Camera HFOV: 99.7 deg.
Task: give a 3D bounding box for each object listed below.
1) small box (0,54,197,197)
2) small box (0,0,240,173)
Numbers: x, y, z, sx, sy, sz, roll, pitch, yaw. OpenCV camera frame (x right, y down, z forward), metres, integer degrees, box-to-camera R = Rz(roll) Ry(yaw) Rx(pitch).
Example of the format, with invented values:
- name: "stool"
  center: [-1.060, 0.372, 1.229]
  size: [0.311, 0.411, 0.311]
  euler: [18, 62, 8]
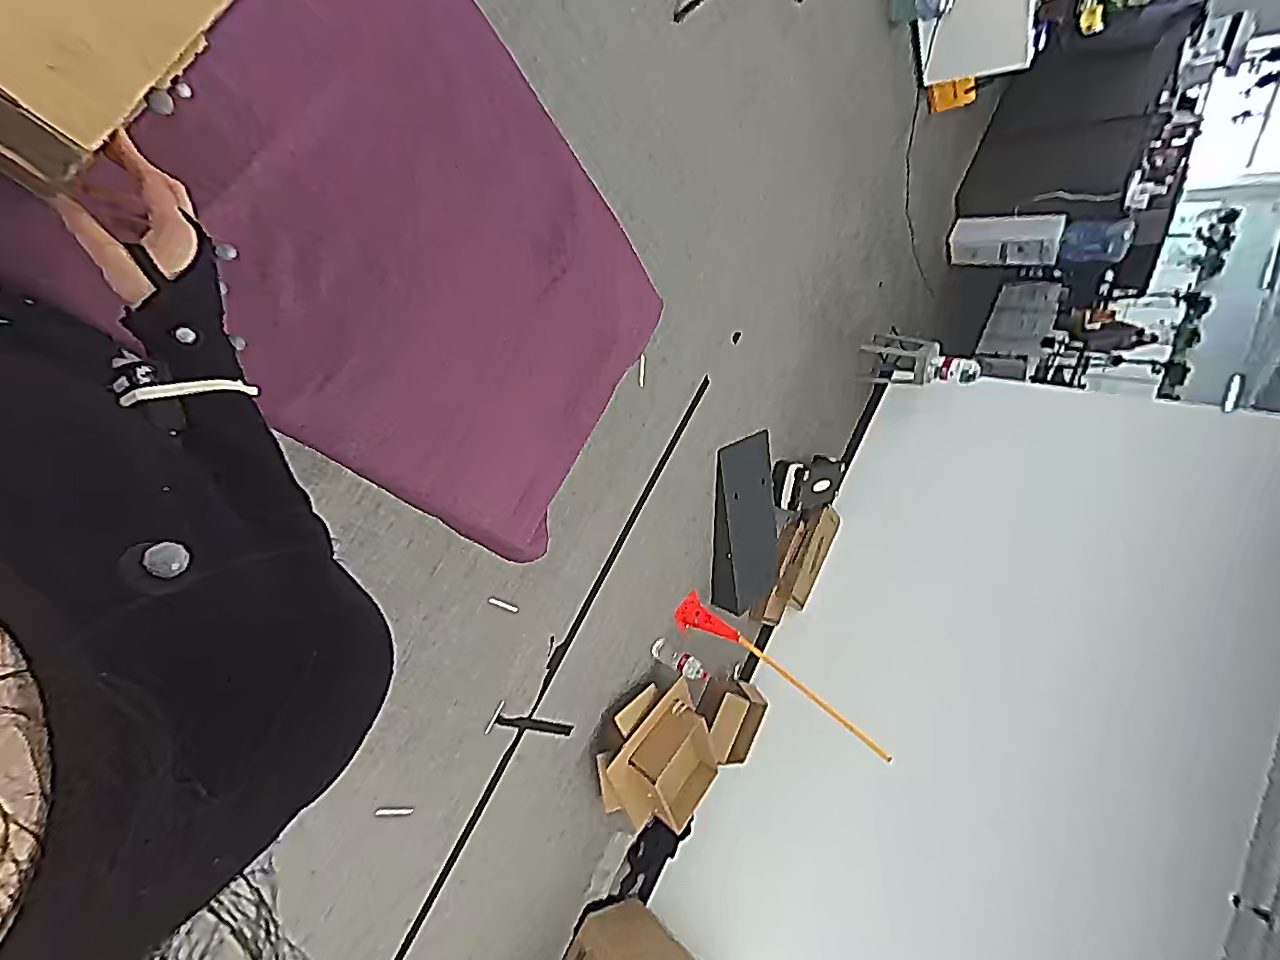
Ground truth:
- name: "small box"
  center: [-0.502, -0.352, 0.424]
  size: [0.168, 0.176, 0.179]
  euler: [44, 70, -49]
- name: "small box"
  center: [-0.379, -0.316, 0.323]
  size: [0.168, 0.176, 0.179]
  euler: [42, 72, -50]
